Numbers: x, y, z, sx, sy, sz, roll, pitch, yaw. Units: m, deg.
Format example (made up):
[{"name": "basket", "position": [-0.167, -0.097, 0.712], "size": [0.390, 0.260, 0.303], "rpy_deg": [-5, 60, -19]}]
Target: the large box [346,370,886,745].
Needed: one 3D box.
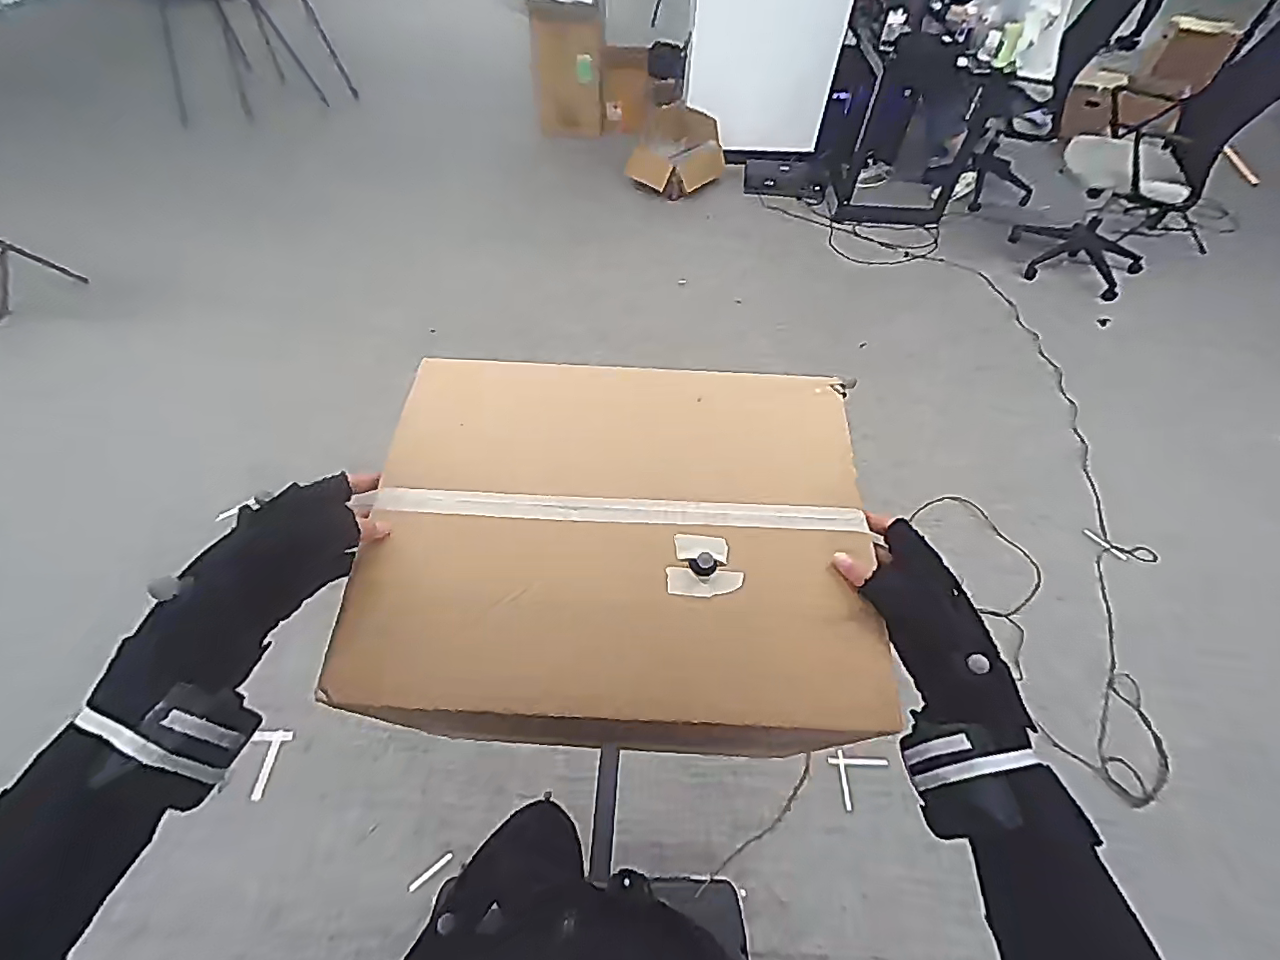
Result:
[{"name": "large box", "position": [-0.017, 0.104, 0.594], "size": [0.408, 0.320, 0.320], "rpy_deg": [3, 61, 0]}]
